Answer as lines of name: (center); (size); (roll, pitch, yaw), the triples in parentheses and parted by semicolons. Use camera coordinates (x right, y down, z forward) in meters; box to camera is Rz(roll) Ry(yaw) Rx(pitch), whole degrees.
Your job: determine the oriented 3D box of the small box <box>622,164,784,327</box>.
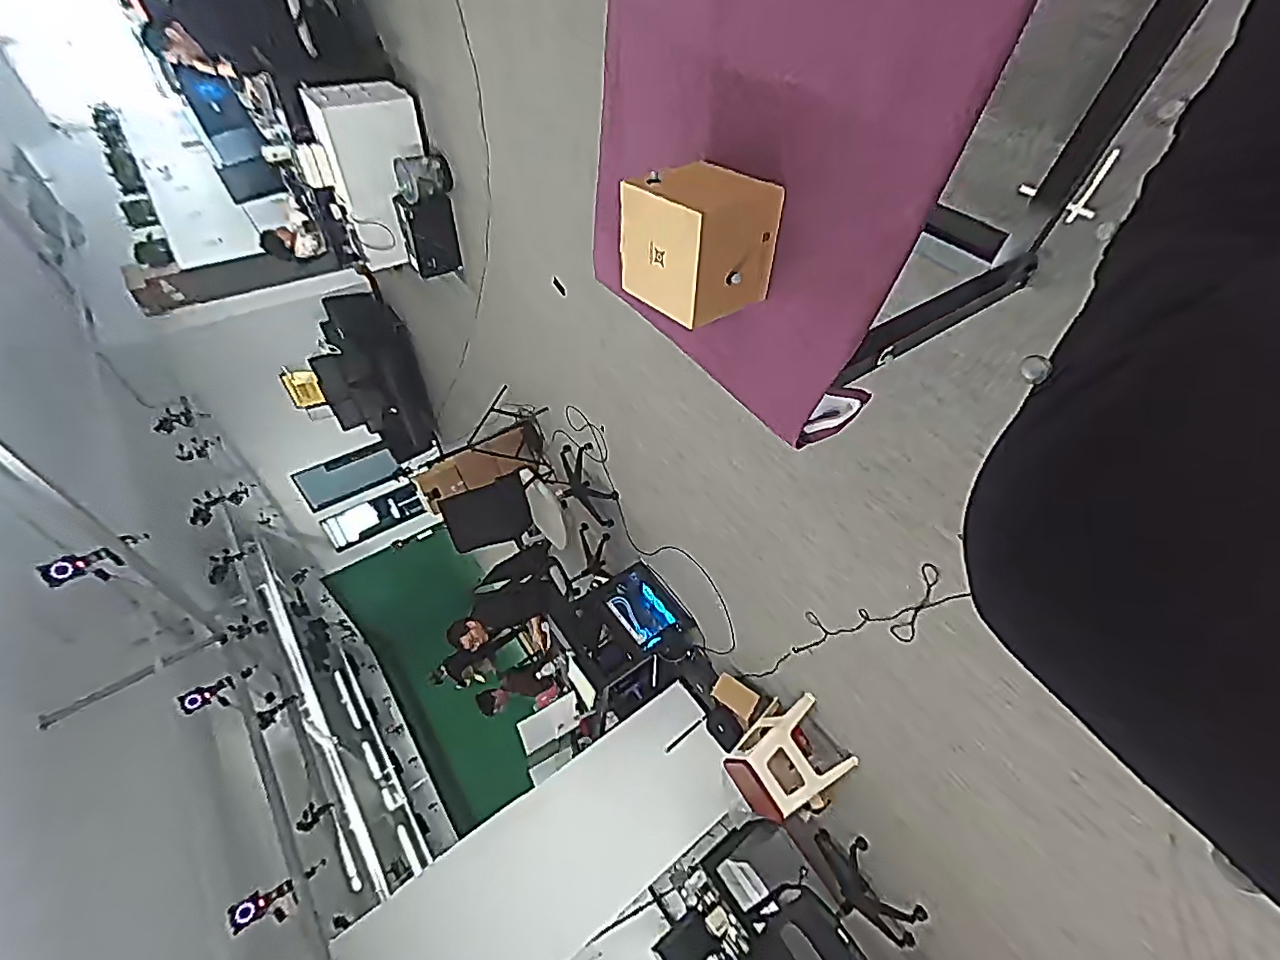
small box: (0.092, -0.363, 0.822); (0.179, 0.176, 0.168); (42, 148, 35)
